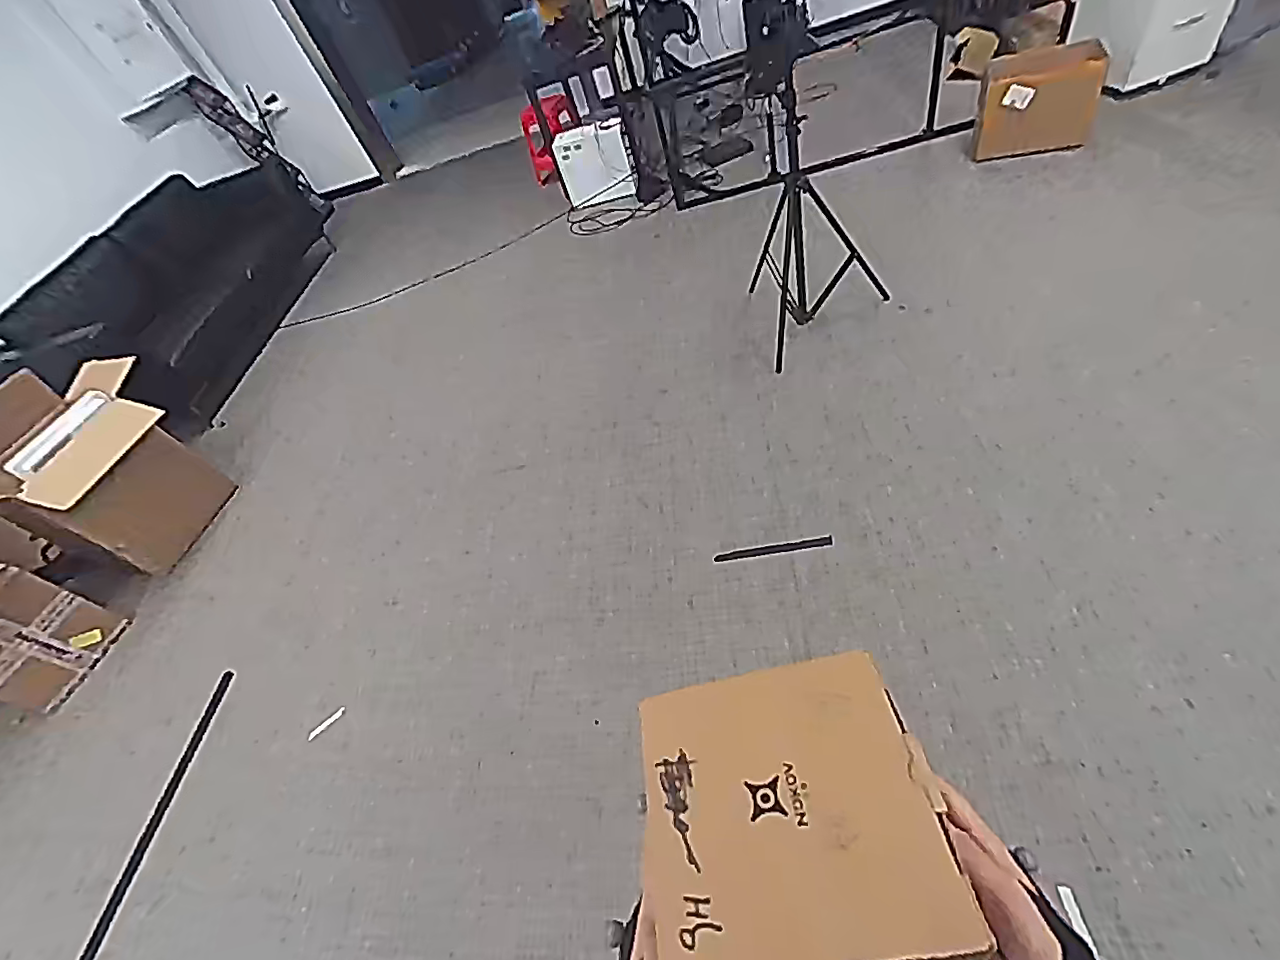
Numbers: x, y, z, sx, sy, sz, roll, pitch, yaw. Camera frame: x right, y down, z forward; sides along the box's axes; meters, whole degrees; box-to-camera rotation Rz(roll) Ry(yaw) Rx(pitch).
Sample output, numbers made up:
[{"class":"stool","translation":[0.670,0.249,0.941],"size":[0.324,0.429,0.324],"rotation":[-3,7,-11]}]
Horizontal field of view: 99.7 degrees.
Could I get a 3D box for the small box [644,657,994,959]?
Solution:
[{"class":"small box","translation":[0.112,0.255,0.391],"size":[0.179,0.176,0.168],"rotation":[-15,42,9]}]
